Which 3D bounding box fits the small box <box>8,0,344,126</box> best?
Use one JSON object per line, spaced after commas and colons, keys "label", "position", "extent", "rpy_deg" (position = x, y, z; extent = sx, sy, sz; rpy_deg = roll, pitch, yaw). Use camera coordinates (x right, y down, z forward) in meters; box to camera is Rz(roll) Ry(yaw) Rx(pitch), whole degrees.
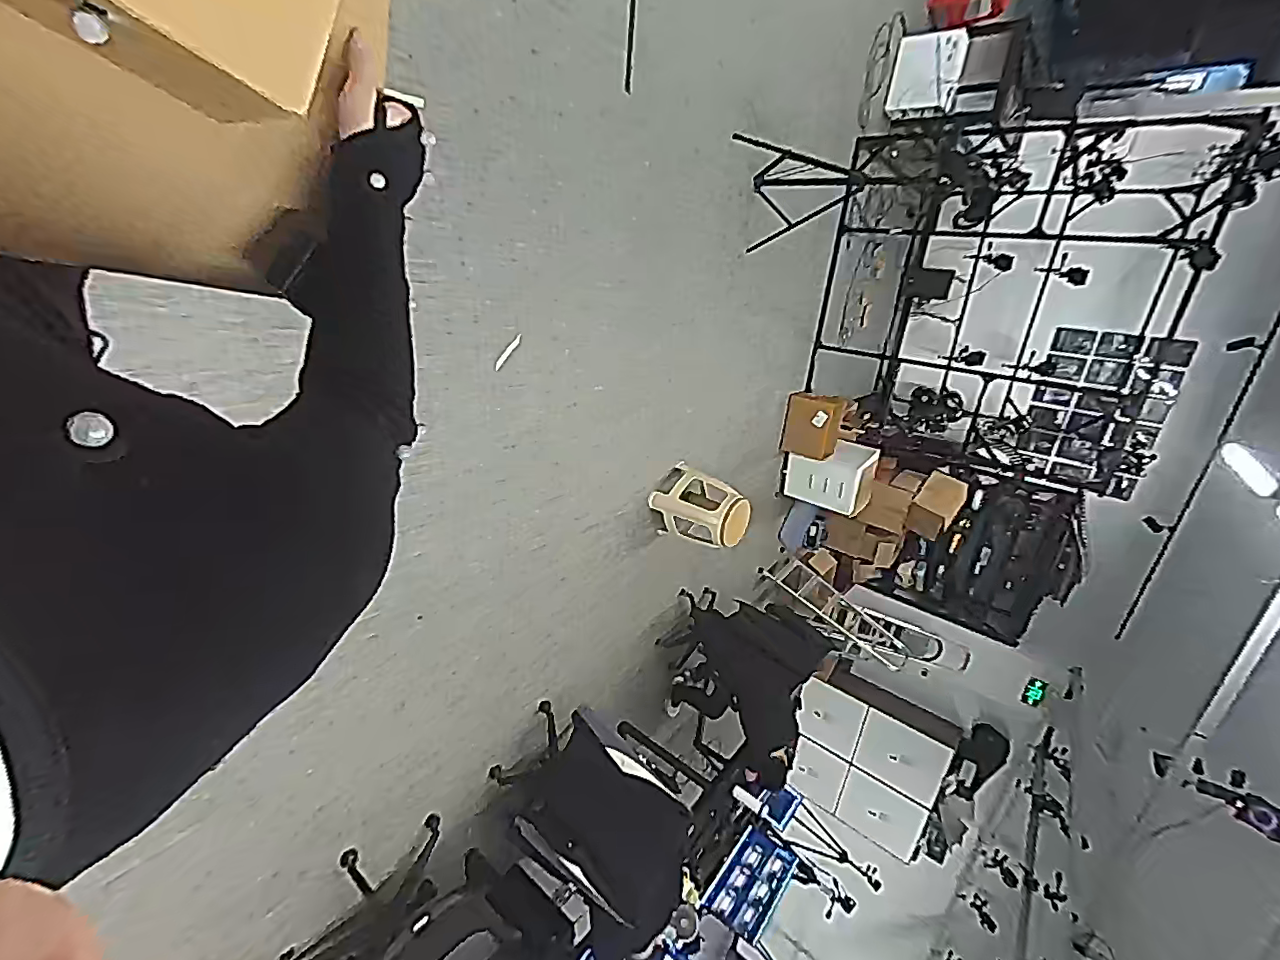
{"label": "small box", "position": [-0.302, -0.354, 0.332], "extent": [0.179, 0.176, 0.168], "rpy_deg": [13, 100, -52]}
